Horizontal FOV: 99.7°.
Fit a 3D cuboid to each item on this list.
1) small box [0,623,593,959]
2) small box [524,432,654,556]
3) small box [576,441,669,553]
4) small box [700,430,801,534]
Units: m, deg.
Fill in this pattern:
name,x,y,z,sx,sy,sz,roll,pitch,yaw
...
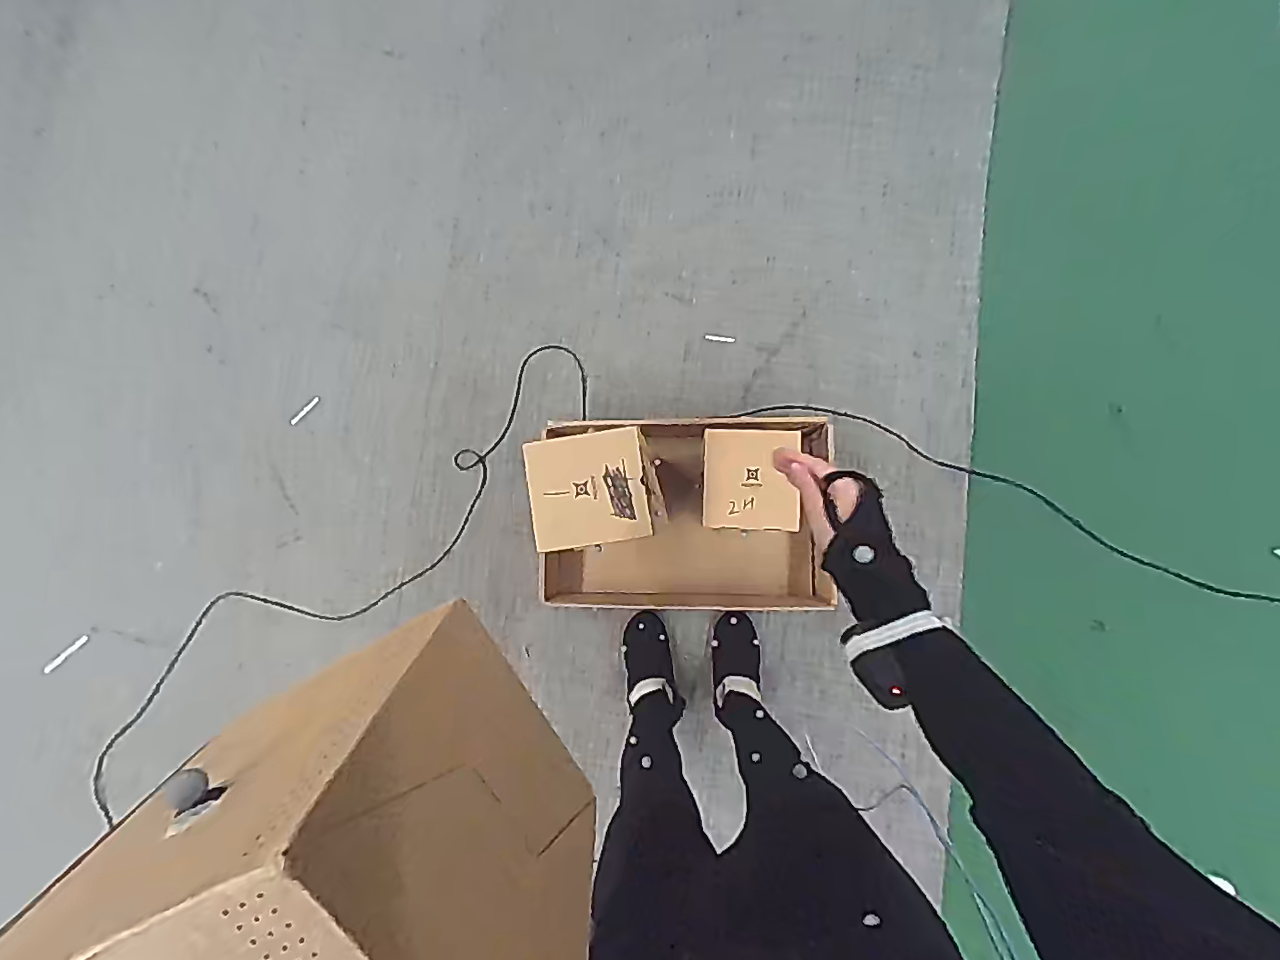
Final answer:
name,x,y,z,sx,sy,sz,roll,pitch,yaw
small box,-0.136,0.200,0.263,0.176,0.179,0.168,-28,102,6
small box,-0.072,0.024,0.872,0.179,0.176,0.168,-9,86,4
small box,-0.049,0.032,1.035,0.179,0.176,0.168,-16,85,3
small box,0.199,0.008,1.011,0.168,0.176,0.179,2,86,6
